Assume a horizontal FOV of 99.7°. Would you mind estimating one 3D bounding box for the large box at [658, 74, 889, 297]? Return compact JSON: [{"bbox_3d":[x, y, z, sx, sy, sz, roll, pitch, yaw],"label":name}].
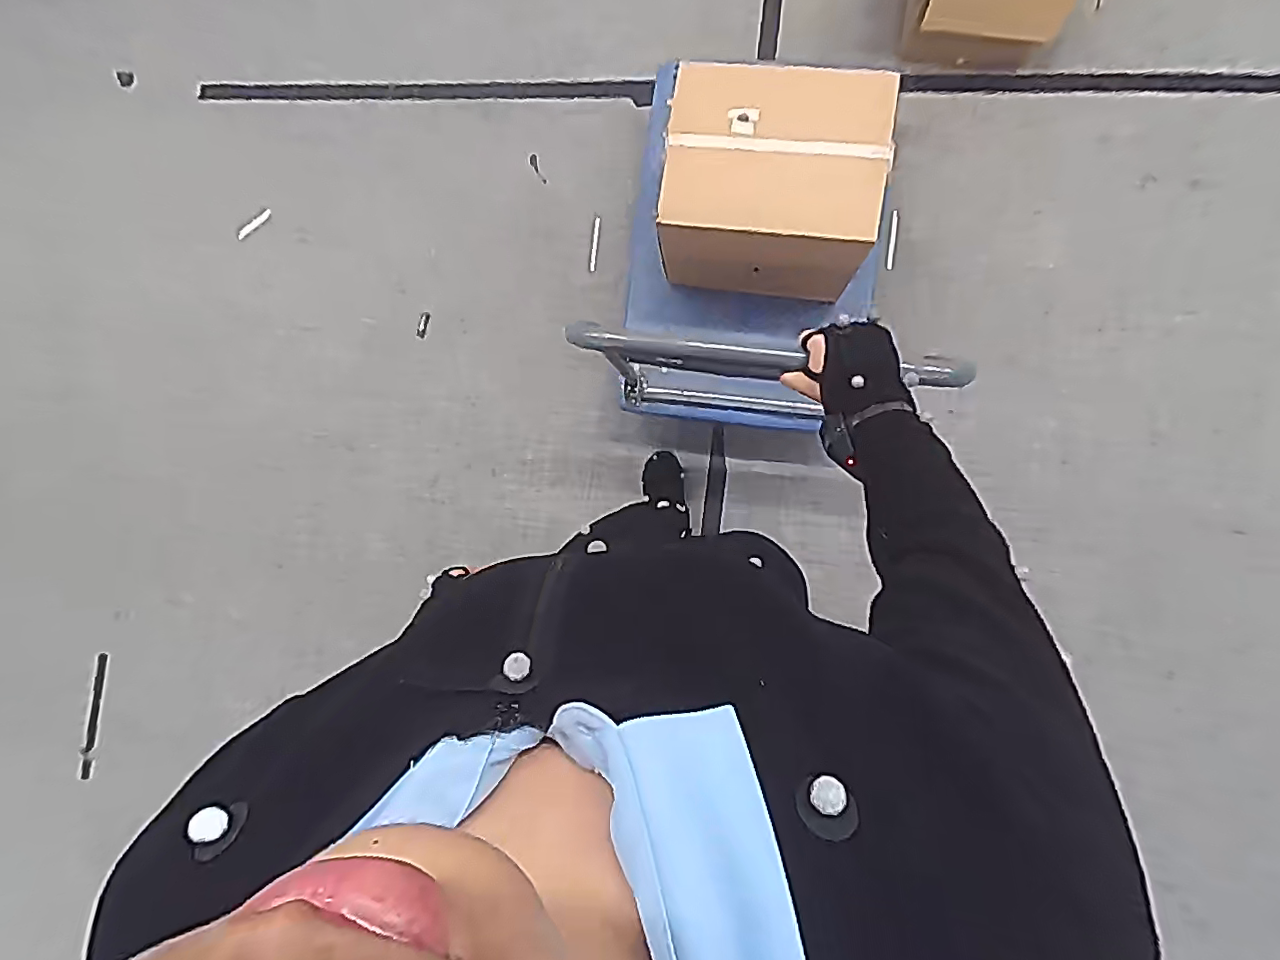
[{"bbox_3d":[0.269,-0.607,1.162,0.408,0.320,0.320,8,88,8],"label":"large box"}]
